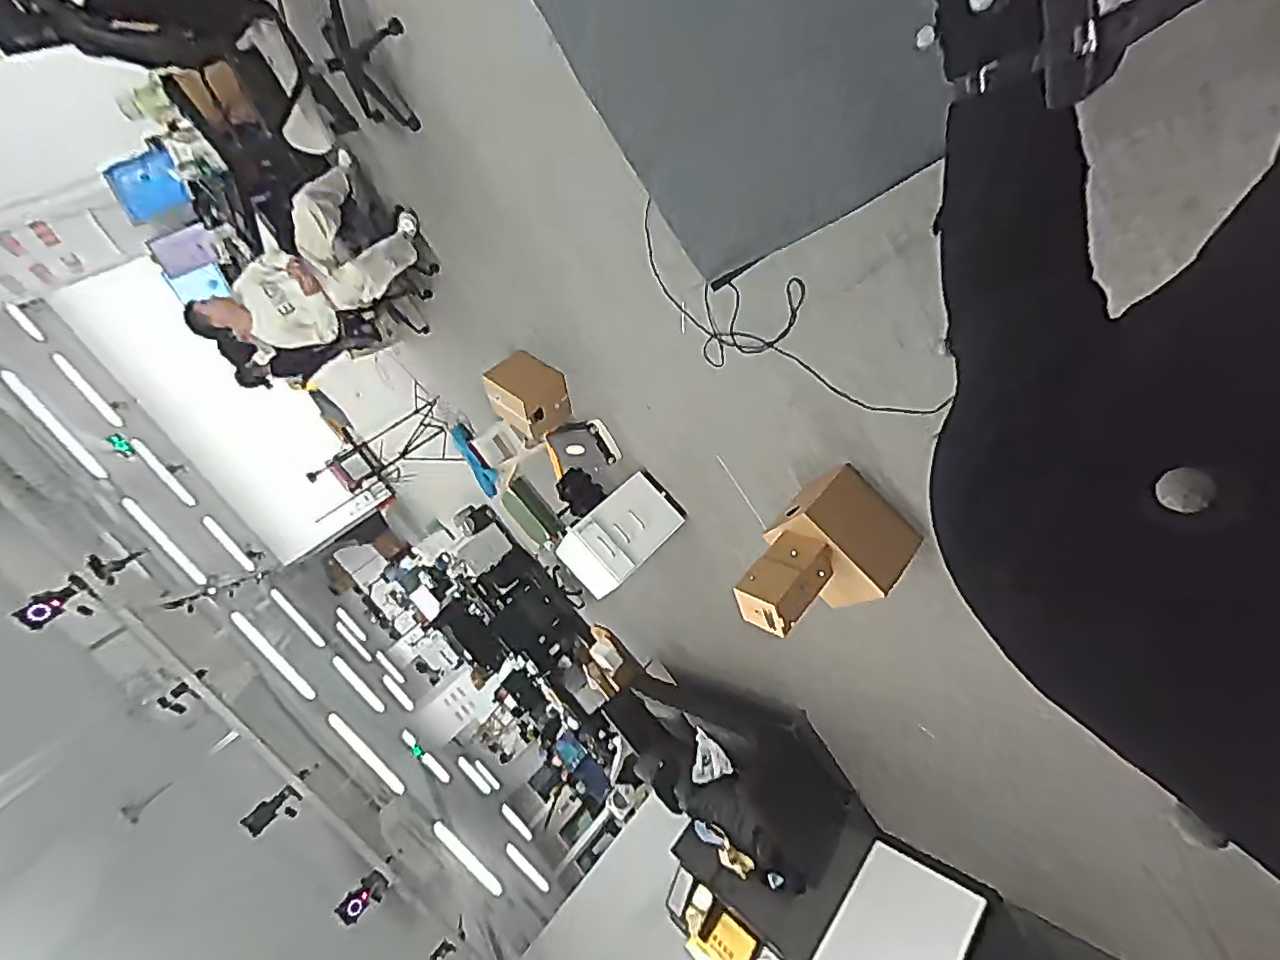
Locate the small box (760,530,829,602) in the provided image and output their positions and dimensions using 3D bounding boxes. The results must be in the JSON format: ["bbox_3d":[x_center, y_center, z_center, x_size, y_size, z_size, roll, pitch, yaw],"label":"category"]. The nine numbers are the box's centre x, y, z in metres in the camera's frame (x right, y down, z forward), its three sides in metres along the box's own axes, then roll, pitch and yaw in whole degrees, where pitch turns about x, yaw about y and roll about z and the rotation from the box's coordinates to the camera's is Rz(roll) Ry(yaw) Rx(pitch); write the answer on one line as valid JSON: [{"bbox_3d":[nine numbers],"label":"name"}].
[{"bbox_3d":[0.569,0.306,1.966,0.179,0.176,0.168,15,137,45],"label":"small box"}]
